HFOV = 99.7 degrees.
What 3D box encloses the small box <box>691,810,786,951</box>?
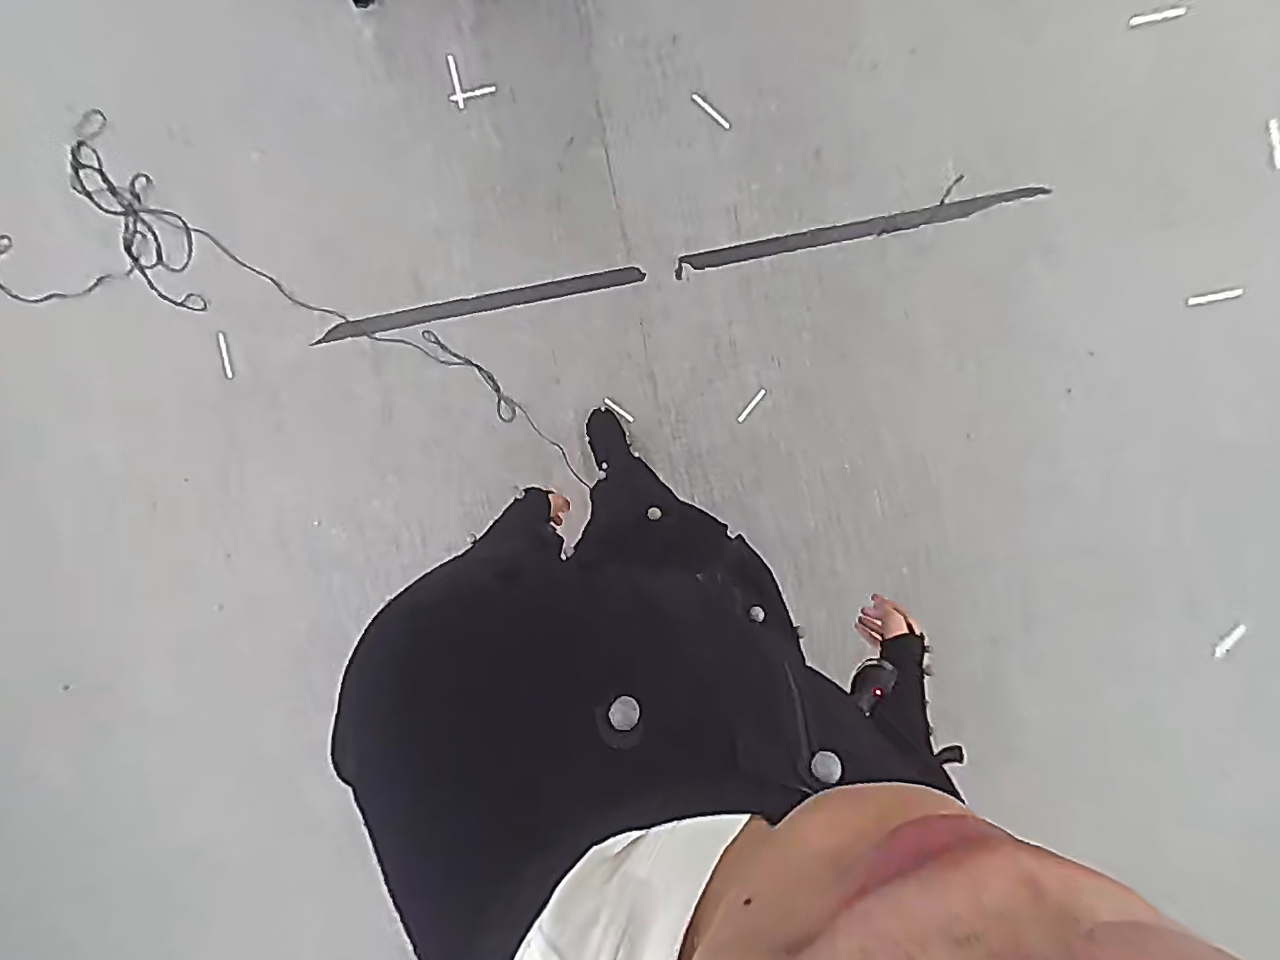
[{"bbox_3d":[0.209,0.866,1.182,0.168,0.176,0.179,-8,93,0],"label":"small box"}]
